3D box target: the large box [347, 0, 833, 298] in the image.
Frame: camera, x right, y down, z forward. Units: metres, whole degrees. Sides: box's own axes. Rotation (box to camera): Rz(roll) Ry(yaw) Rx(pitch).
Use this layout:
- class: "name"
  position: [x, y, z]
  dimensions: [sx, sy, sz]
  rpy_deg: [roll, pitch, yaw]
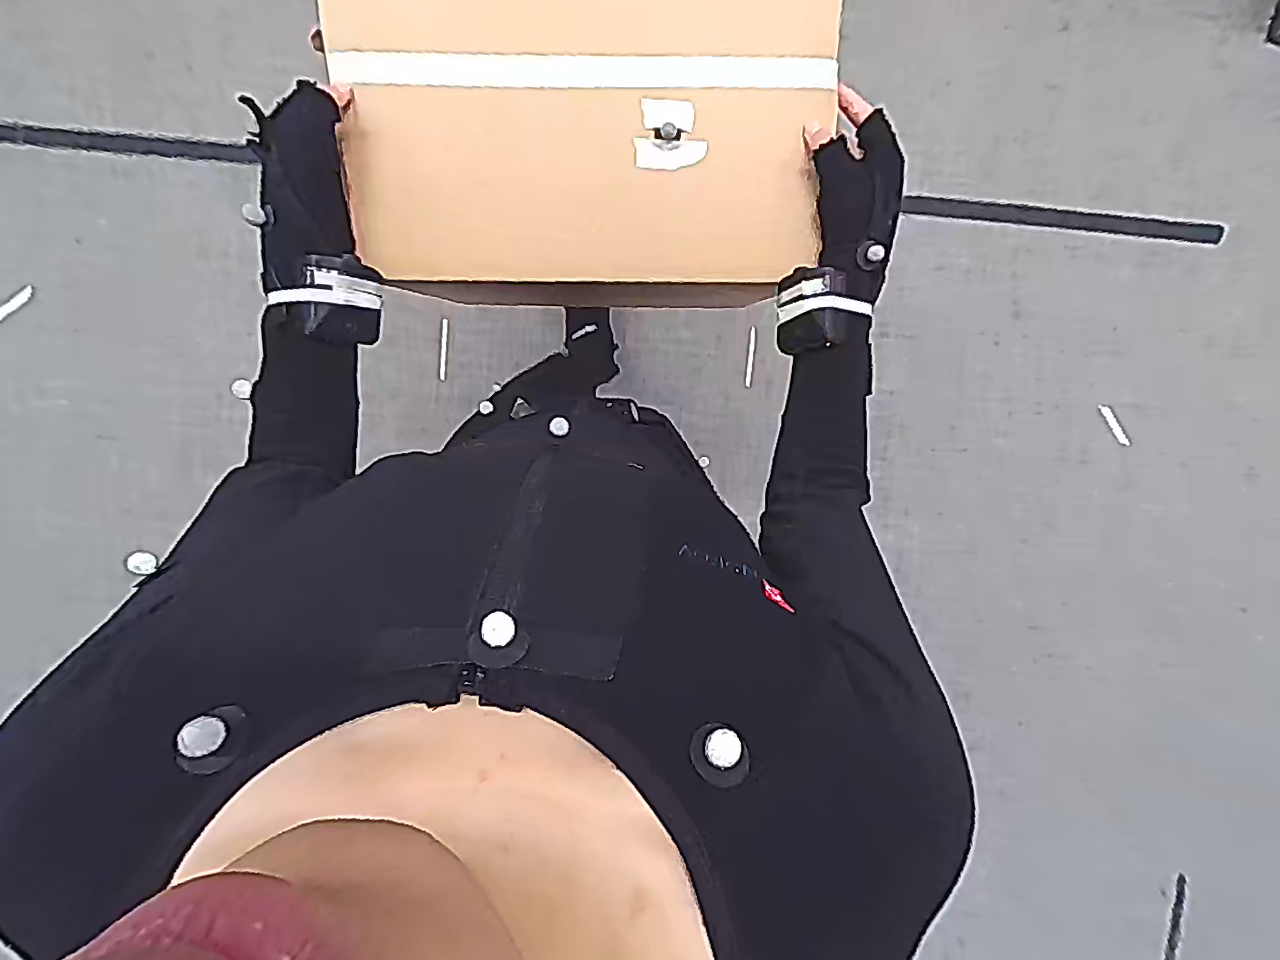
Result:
- class: "large box"
  position: [-0.045, -0.379, 0.596]
  dimensions: [0.408, 0.320, 0.320]
  rpy_deg: [-1, 105, -2]
